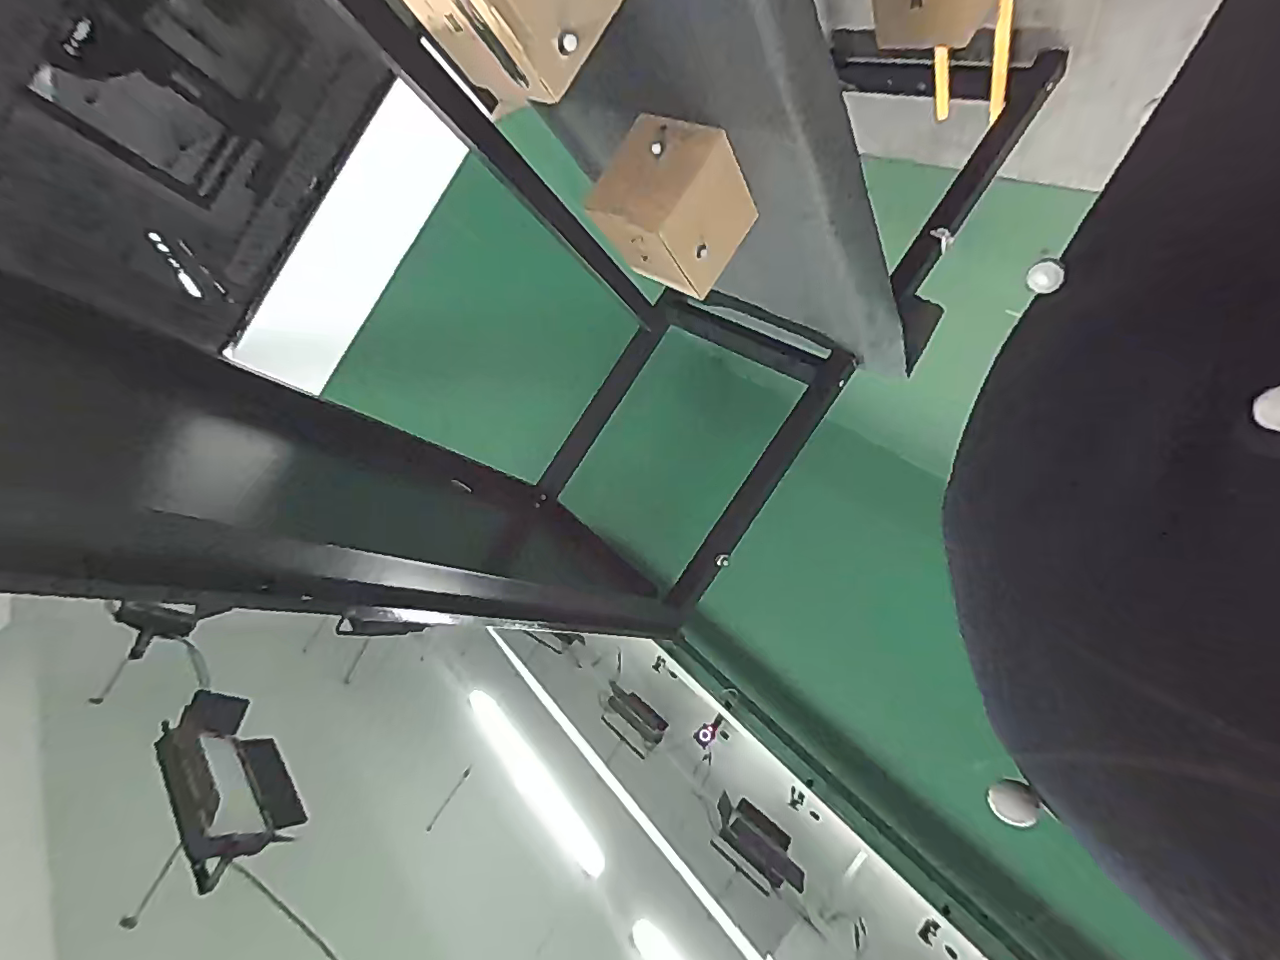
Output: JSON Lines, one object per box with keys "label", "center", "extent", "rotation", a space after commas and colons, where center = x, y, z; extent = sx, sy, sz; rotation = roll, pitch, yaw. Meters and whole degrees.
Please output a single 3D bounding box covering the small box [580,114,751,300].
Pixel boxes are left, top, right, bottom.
{"label": "small box", "center": [0.048, -0.421, 0.844], "extent": [0.168, 0.176, 0.179], "rotation": [35, -176, 32]}
